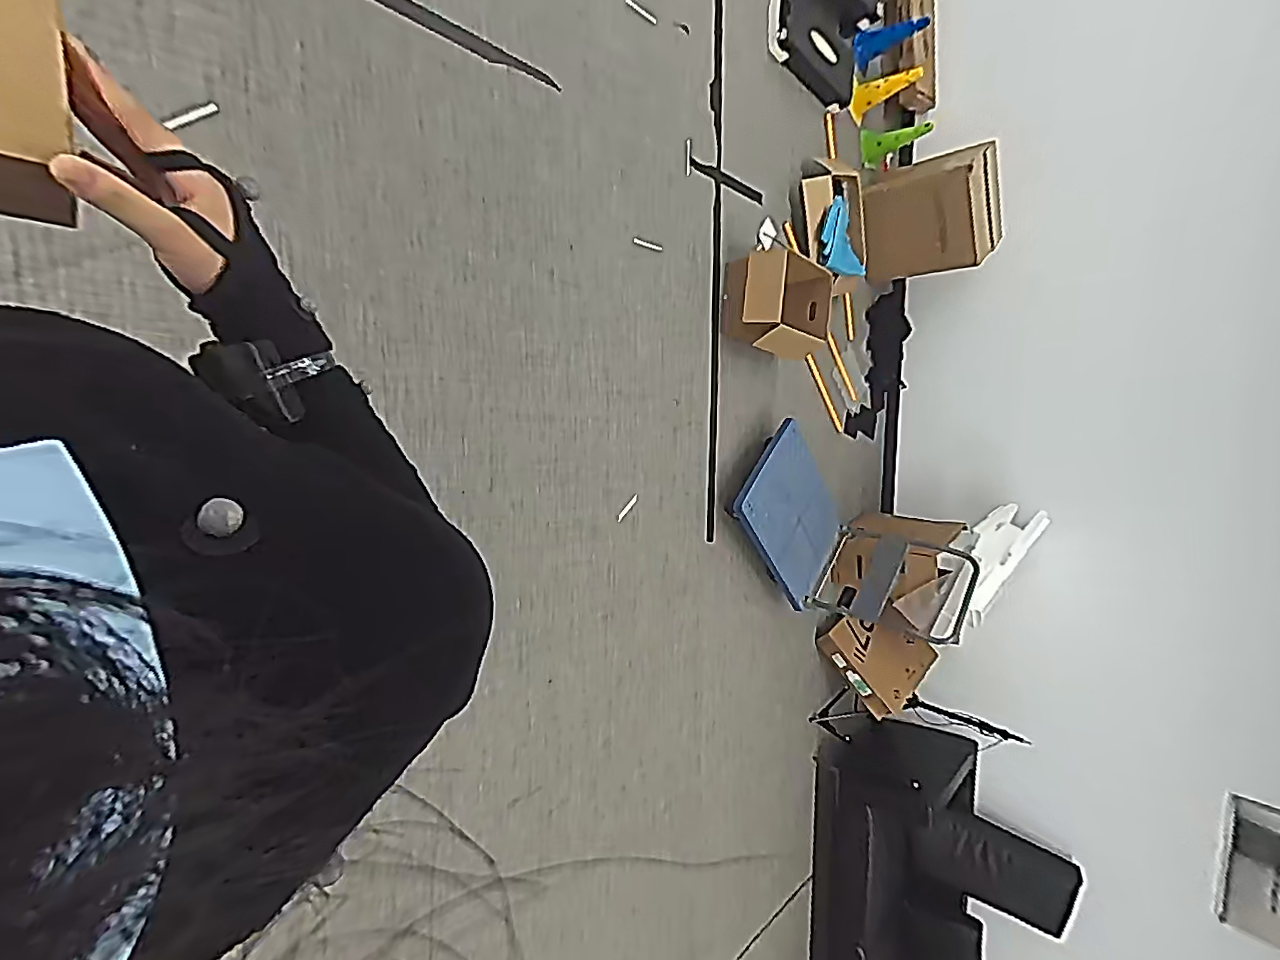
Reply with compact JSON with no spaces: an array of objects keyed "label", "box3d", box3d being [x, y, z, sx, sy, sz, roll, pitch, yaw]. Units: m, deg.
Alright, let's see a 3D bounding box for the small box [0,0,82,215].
[{"label":"small box","box3d":[-0.409,-0.259,0.277,0.168,0.176,0.179,-4,100,-45]}]
